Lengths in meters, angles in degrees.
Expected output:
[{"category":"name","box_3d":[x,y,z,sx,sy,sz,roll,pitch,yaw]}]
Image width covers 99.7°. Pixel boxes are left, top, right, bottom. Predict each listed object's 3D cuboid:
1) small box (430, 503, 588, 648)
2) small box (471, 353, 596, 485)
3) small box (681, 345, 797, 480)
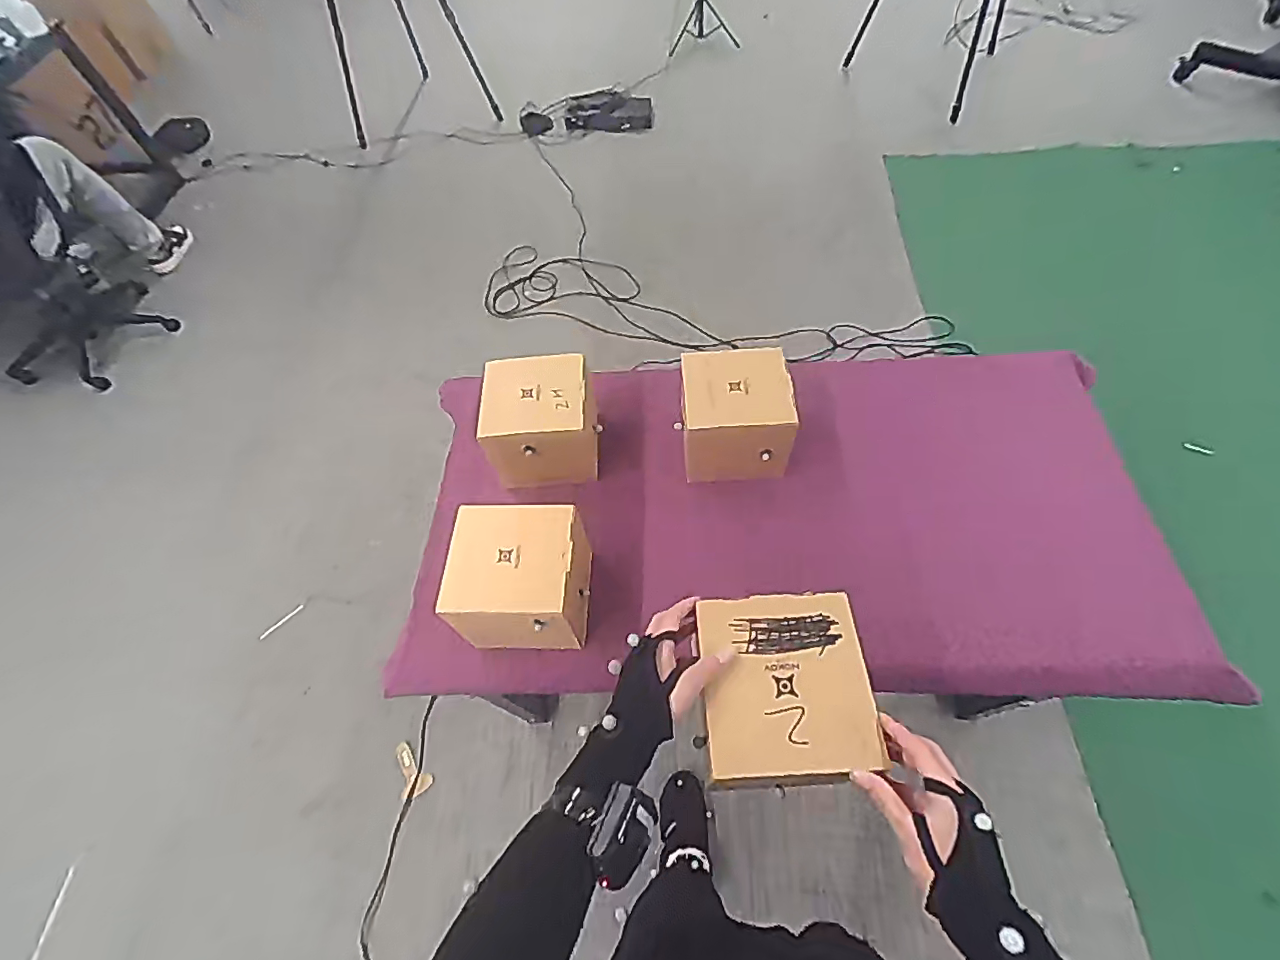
[{"category":"small box","box_3d":[-0.182,0.147,0.810,0.179,0.176,0.168,0,58,4]},{"category":"small box","box_3d":[-0.177,-0.102,0.958,0.179,0.176,0.168,-4,59,2]},{"category":"small box","box_3d":[0.161,-0.111,0.938,0.179,0.176,0.168,-3,59,4]}]
